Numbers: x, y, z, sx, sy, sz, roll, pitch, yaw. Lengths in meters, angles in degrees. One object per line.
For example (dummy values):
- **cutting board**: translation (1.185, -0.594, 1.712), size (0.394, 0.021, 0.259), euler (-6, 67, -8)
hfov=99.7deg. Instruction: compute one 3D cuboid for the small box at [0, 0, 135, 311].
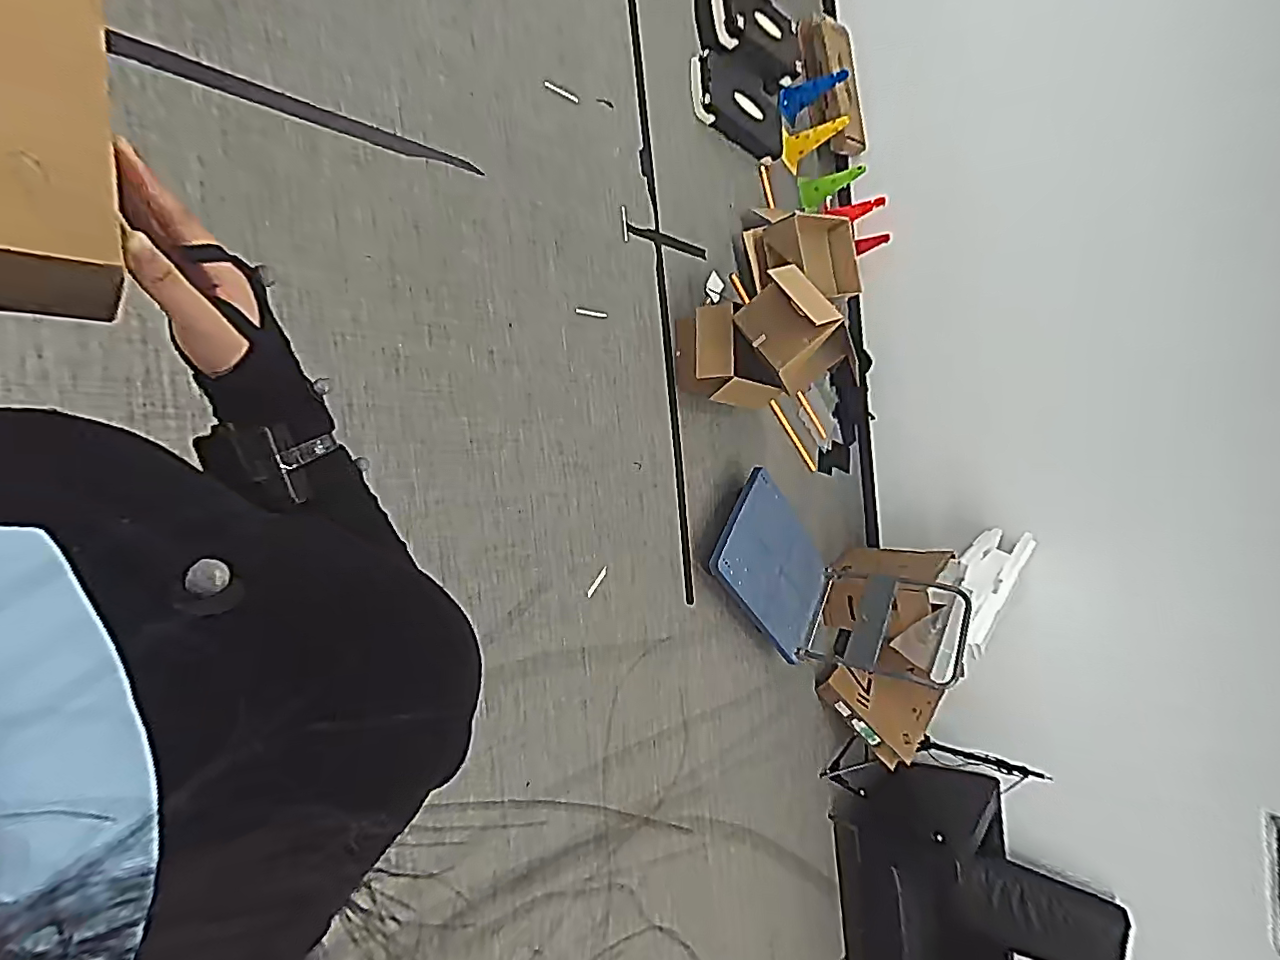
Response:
- **small box**: translation (-0.385, -0.199, 0.284), size (0.168, 0.176, 0.179), euler (-5, 95, -46)
